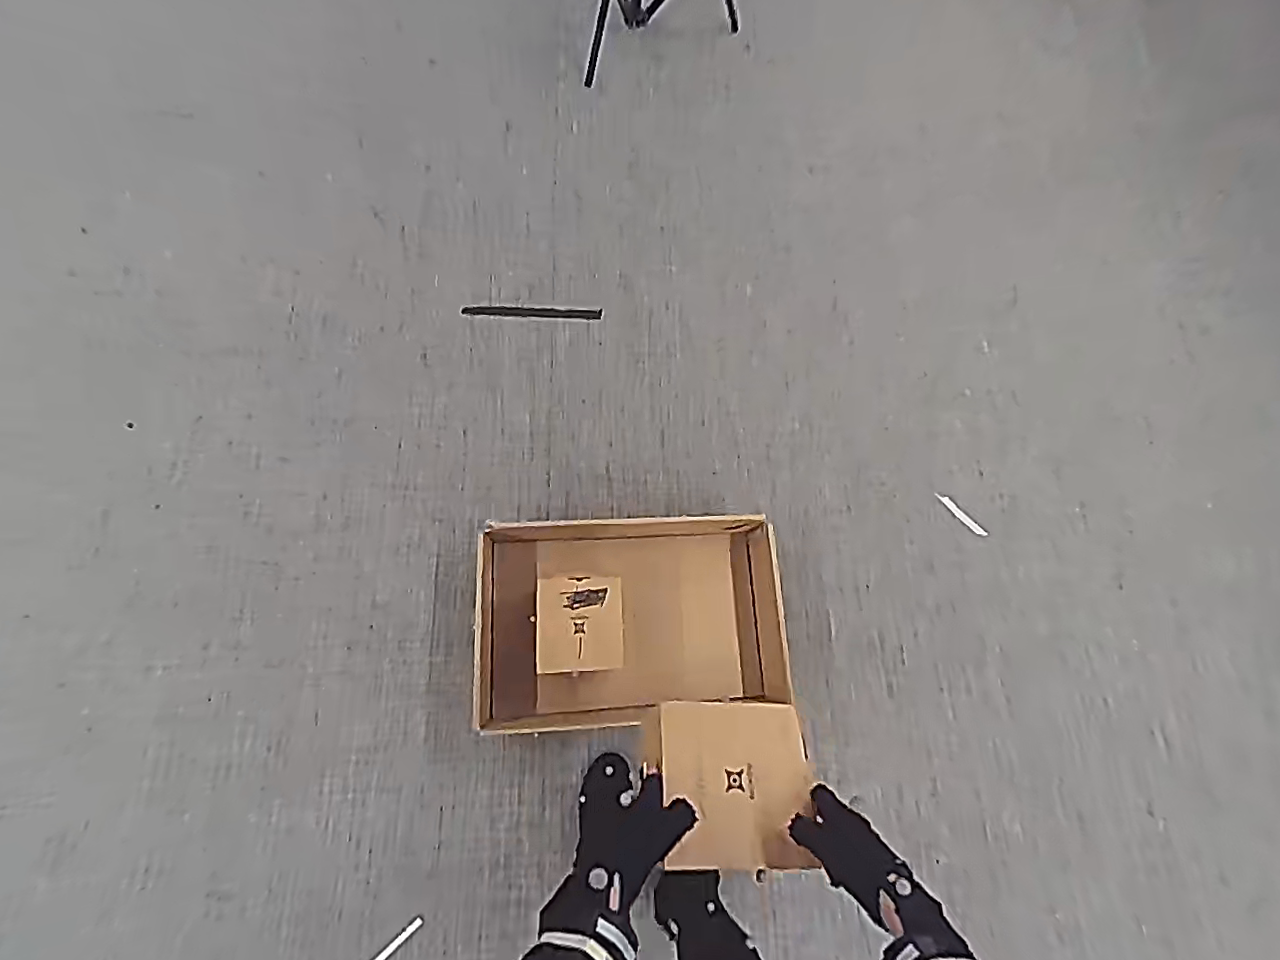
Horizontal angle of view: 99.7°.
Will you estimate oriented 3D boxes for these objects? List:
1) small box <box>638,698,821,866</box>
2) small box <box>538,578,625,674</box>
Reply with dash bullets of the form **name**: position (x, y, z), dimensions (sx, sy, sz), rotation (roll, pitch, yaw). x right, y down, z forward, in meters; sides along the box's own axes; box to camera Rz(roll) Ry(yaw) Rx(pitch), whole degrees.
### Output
- **small box**: position (0.097, 0.377, 0.676), dimensions (0.179, 0.176, 0.168), rotation (4, 56, -7)
- **small box**: position (-0.123, 0.298, 1.105), dimensions (0.168, 0.176, 0.179), rotation (0, 75, -8)
